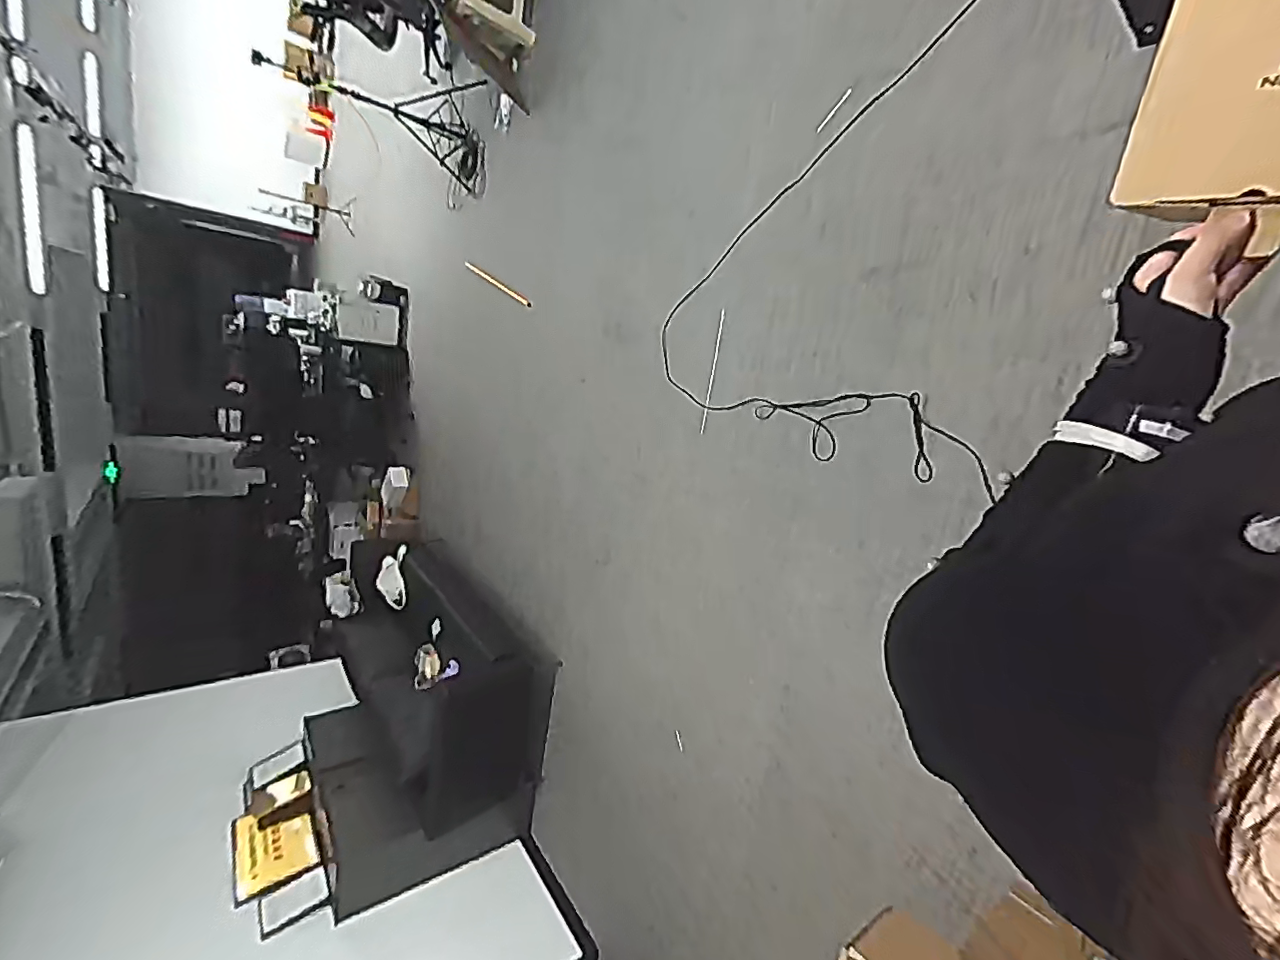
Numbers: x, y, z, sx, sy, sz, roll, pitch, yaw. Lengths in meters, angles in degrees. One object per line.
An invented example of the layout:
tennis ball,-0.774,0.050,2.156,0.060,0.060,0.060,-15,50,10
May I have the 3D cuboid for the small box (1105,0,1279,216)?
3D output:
small box,0.494,-0.292,0.392,0.168,0.176,0.179,31,125,48
